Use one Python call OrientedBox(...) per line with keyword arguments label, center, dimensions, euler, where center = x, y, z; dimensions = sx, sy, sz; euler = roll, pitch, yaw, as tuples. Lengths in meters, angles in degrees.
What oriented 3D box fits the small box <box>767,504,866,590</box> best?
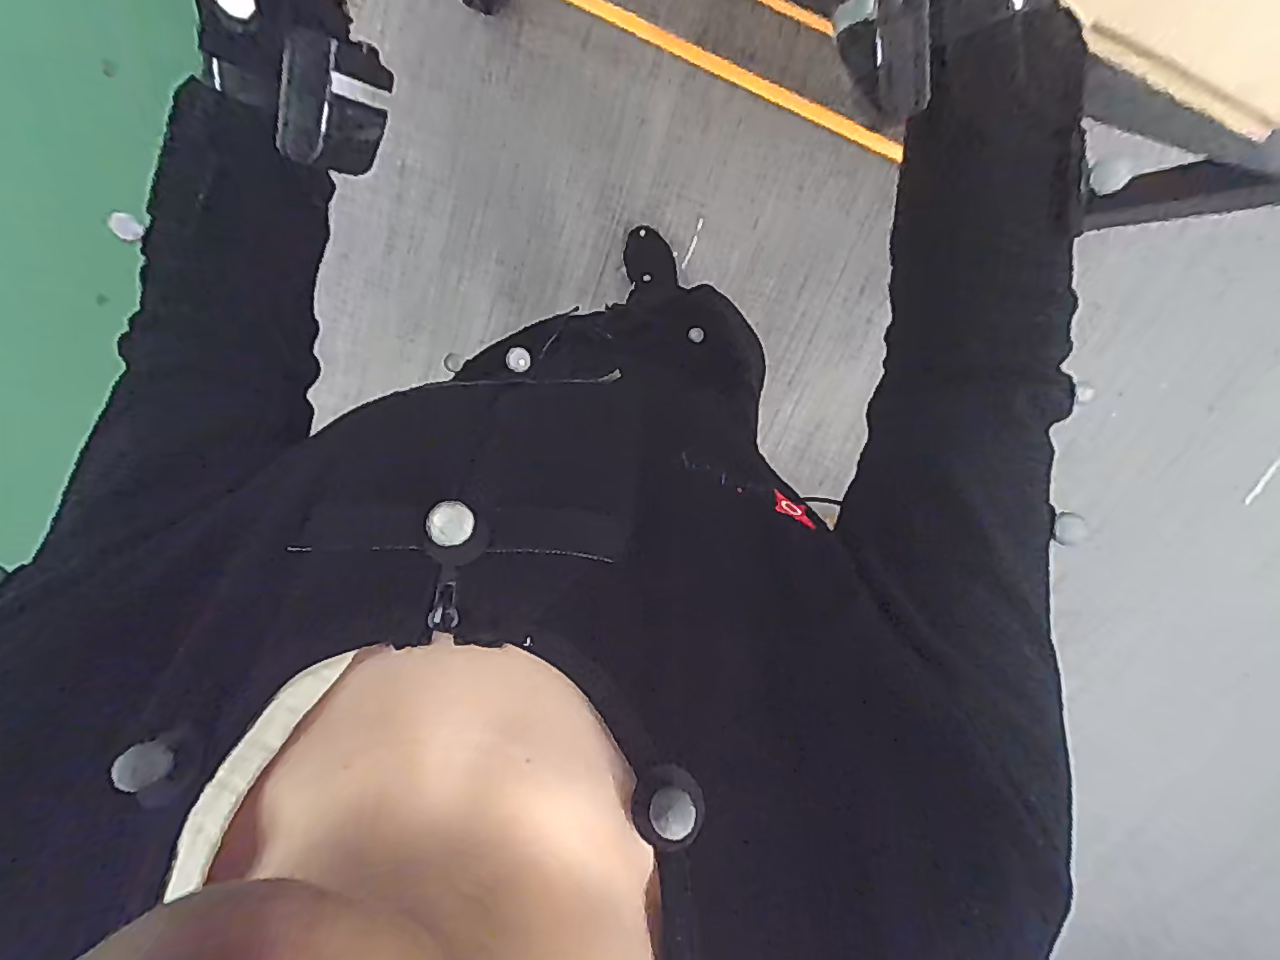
OrientedBox(label="small box", center=(0.433, 0.179, 1.362), dimensions=(0.168, 0.176, 0.179), euler=(16, 109, -3))
